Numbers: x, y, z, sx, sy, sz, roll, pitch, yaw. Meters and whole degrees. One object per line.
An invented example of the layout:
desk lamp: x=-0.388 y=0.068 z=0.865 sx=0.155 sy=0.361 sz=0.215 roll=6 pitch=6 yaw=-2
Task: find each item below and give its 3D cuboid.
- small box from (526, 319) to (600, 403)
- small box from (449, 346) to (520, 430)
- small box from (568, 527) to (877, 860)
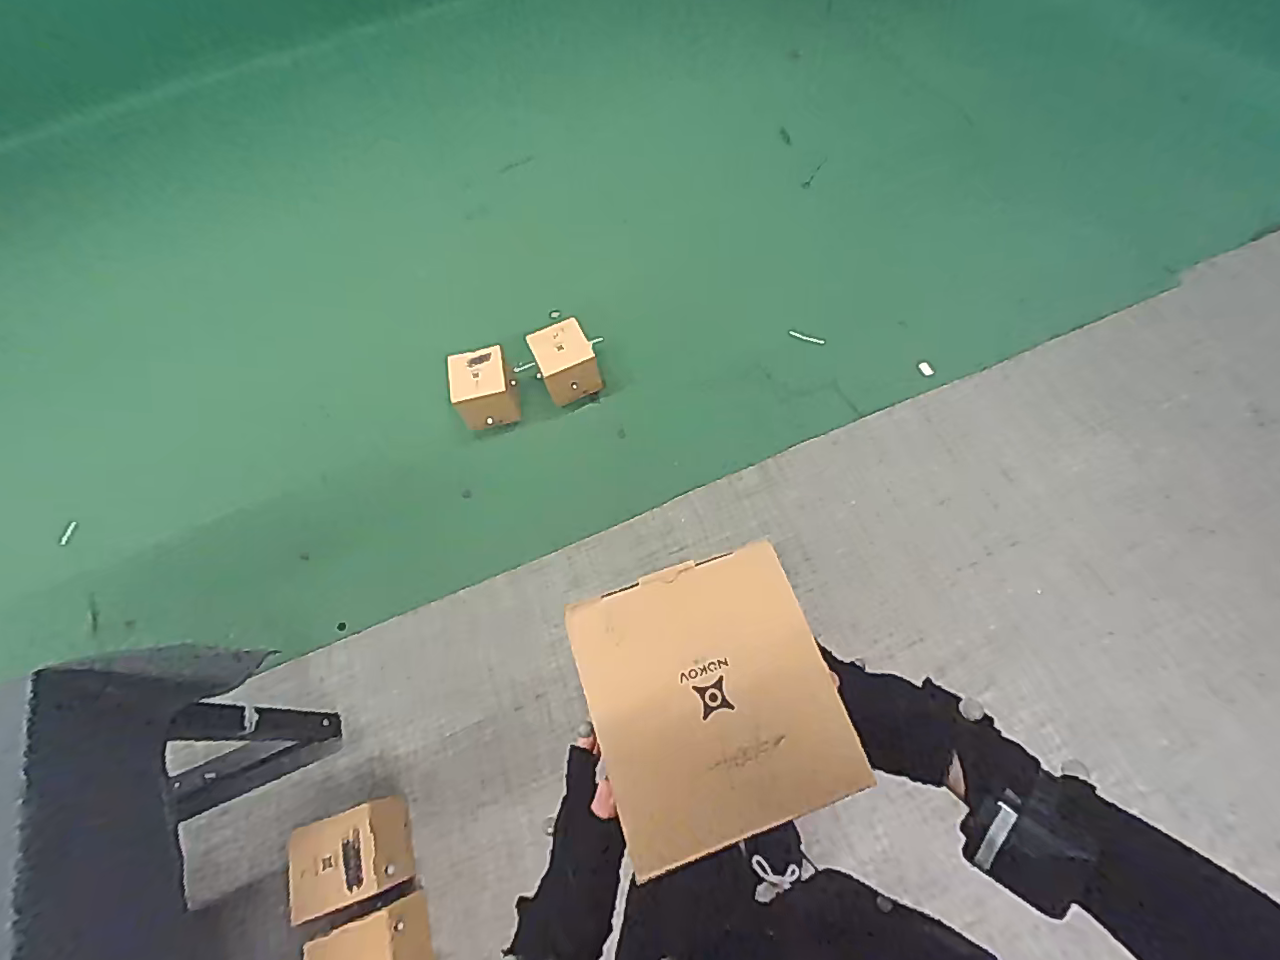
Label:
small box: x=-0.234 y=-0.364 z=1.695 sx=0.168 sy=0.176 sz=0.179 roll=-23 pitch=64 yaw=-8
small box: x=-0.479 y=-0.282 z=1.675 sx=0.168 sy=0.176 sz=0.179 roll=-13 pitch=65 yaw=-1
small box: x=0.047 y=0.162 z=0.437 sx=0.168 sy=0.176 sz=0.179 roll=-16 pitch=69 yaw=-8
